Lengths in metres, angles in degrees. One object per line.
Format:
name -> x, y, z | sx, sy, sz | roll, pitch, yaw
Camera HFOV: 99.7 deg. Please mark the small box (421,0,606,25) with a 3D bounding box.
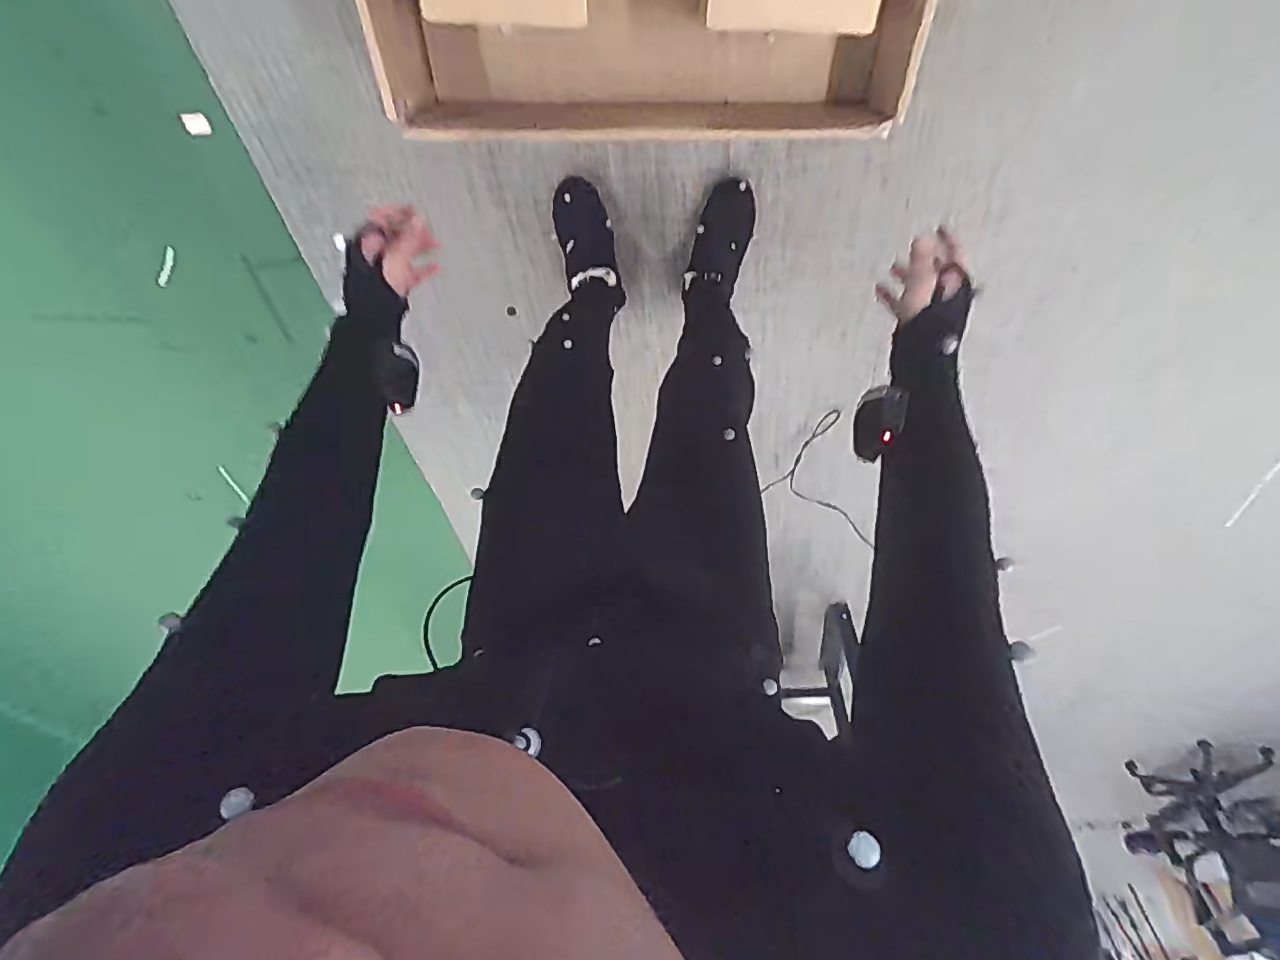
small box -> -0.132, -0.595, 0.572 | 0.179, 0.176, 0.168 | 4, 133, 1
